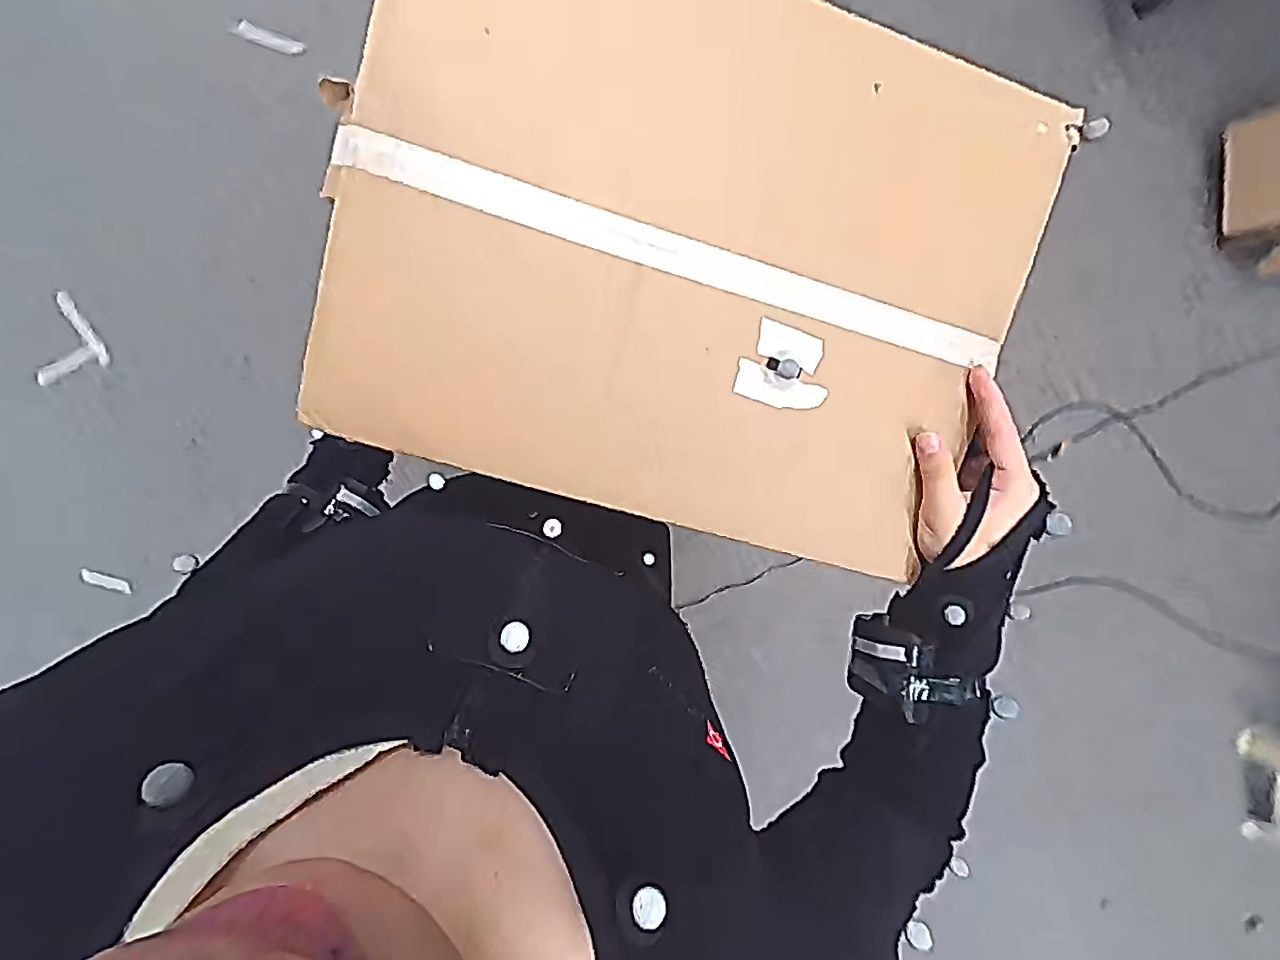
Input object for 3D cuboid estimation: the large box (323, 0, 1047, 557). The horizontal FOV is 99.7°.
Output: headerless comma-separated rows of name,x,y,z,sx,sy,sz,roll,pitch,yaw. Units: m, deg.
large box,0.016,-0.156,0.478,0.408,0.320,0.320,14,98,-9
